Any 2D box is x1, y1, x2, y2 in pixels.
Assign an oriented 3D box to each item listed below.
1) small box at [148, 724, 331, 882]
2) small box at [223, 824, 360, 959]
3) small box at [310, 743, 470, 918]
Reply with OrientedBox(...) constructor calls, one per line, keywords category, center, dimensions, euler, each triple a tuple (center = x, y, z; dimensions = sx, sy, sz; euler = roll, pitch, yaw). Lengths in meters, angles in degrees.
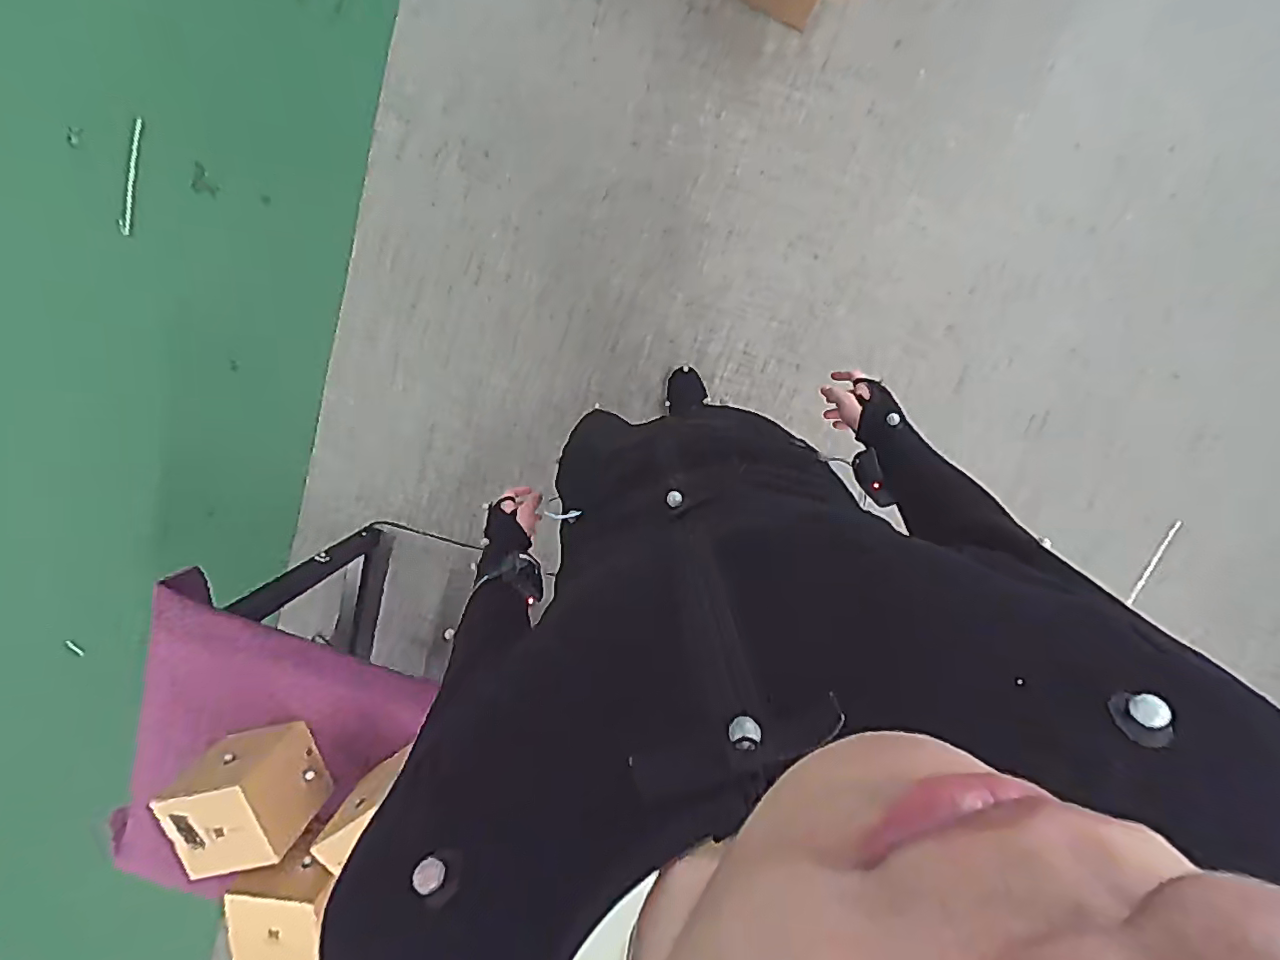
OrientedBox(category="small box", center=(-0.714, 0.578, 0.984), dimensions=(0.179, 0.176, 0.168), euler=(-15, 103, 6))
OrientedBox(category="small box", center=(-0.647, 0.796, 1.035), dimensions=(0.168, 0.176, 0.179), euler=(4, 103, 2))
OrientedBox(category="small box", center=(-0.432, 0.618, 0.974), dimensions=(0.179, 0.176, 0.168), euler=(-37, 98, 11))
